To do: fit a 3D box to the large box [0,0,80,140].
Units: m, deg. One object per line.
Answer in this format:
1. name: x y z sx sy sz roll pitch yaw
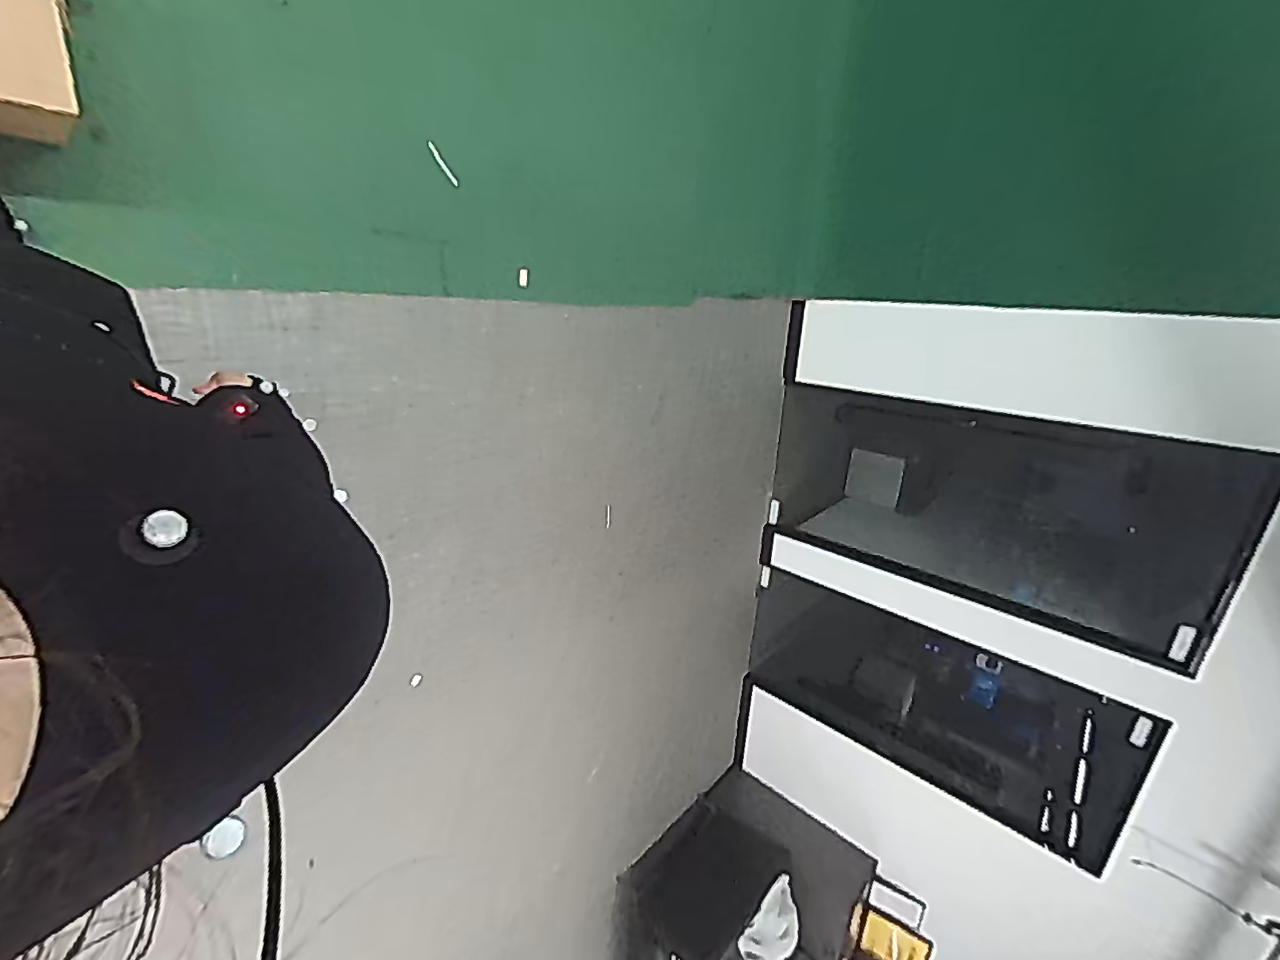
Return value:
1. large box: -1.043 -0.672 0.683 0.408 0.320 0.320 -16 117 -47
